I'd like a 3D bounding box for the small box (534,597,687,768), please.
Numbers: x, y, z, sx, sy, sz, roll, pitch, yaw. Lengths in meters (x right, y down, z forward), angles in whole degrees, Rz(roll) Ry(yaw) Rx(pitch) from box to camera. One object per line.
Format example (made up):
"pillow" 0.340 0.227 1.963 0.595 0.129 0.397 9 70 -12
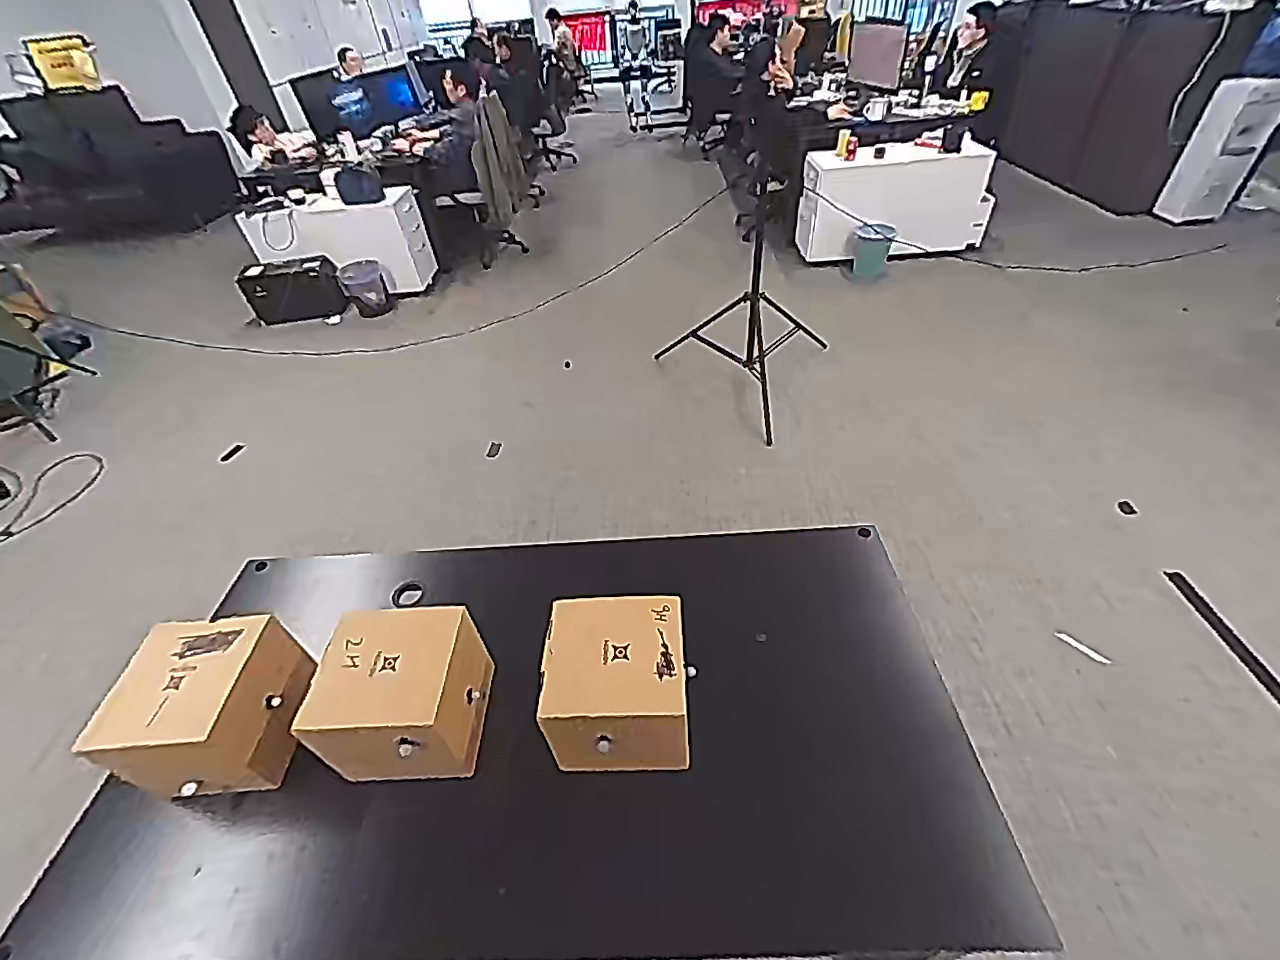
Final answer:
"small box" -0.029 0.279 0.739 0.179 0.176 0.168 -3 43 4

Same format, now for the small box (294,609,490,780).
"small box" -0.322 0.298 0.749 0.179 0.176 0.168 -4 42 2

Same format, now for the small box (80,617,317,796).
"small box" -0.588 0.317 0.759 0.168 0.176 0.179 -5 44 1
